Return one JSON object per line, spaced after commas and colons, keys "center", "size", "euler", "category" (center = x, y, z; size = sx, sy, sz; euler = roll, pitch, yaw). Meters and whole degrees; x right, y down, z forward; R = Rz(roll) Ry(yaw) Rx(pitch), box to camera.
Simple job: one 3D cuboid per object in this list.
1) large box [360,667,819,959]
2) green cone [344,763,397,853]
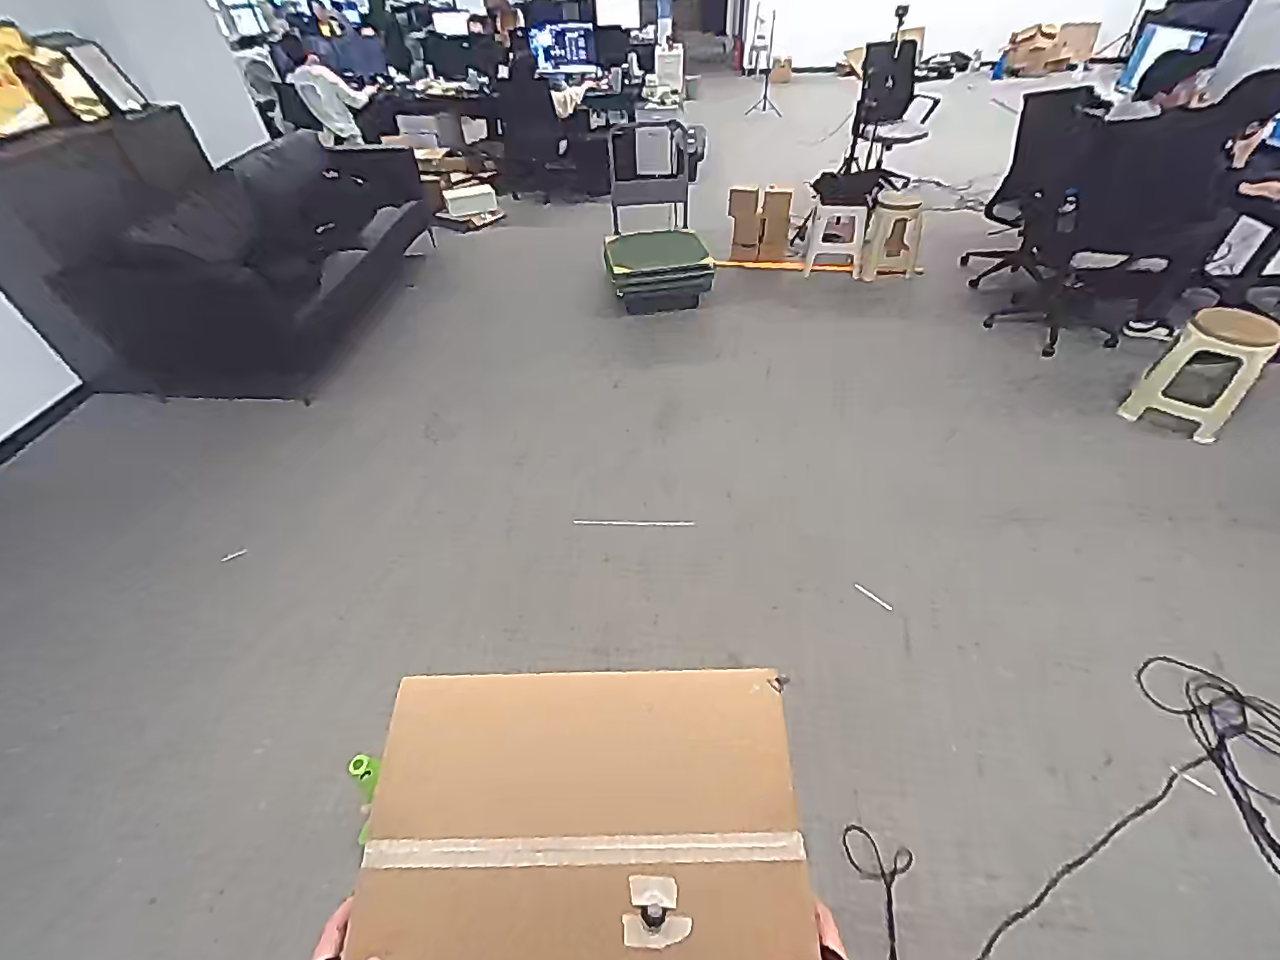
{"center": [-0.045, 0.422, 0.636], "size": [0.408, 0.320, 0.320], "euler": [-2, 58, 1], "category": "large box"}
{"center": [-0.629, 0.765, 1.323], "size": [0.200, 0.368, 0.202], "euler": [5, 46, 9], "category": "green cone"}
